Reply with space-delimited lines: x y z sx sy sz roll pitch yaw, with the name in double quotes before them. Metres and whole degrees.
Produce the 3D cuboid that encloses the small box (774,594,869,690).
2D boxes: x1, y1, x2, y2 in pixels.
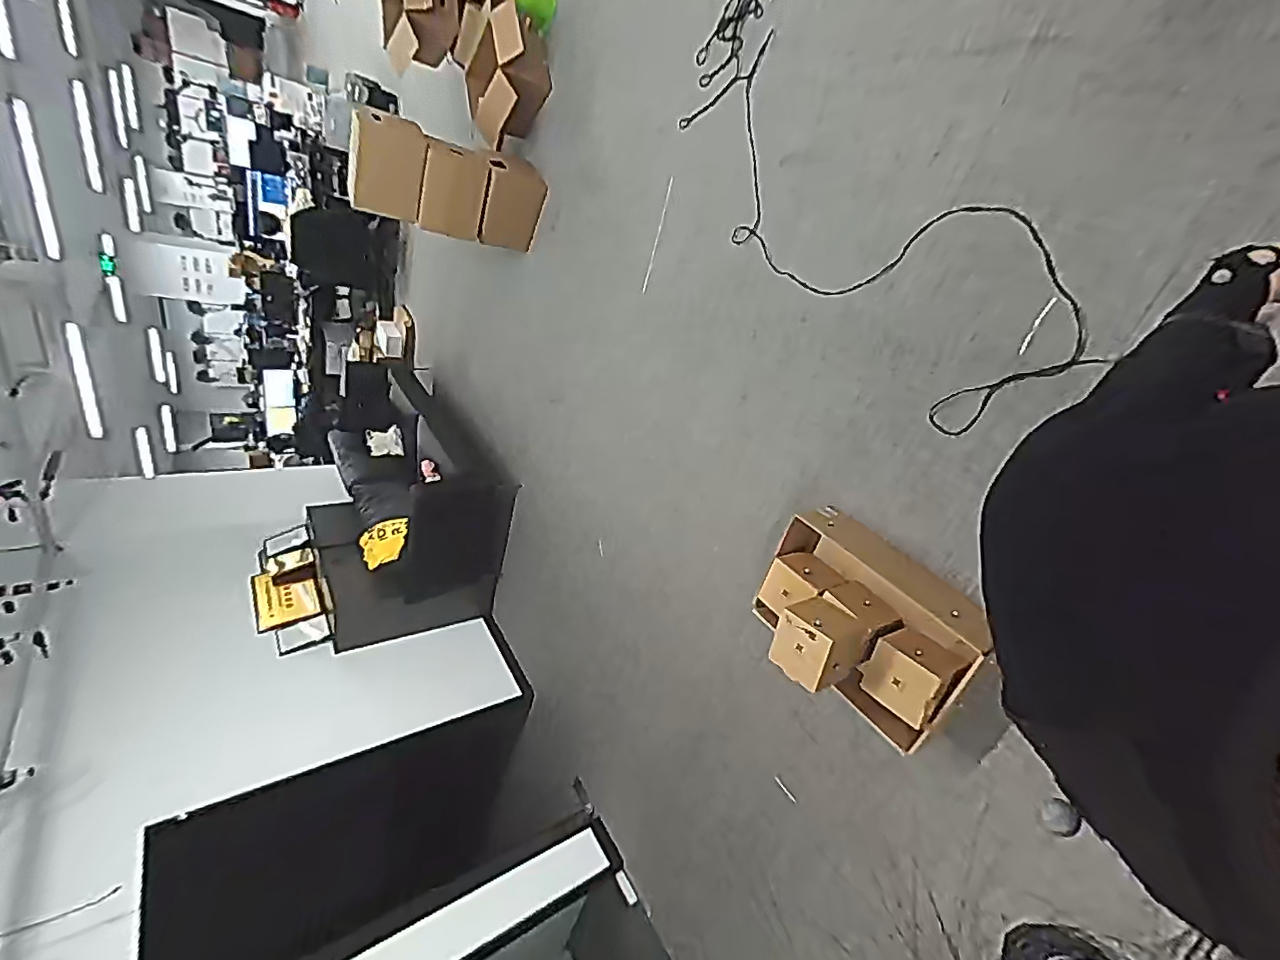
"small box" 0.506 0.442 1.503 0.168 0.176 0.179 32 119 46
